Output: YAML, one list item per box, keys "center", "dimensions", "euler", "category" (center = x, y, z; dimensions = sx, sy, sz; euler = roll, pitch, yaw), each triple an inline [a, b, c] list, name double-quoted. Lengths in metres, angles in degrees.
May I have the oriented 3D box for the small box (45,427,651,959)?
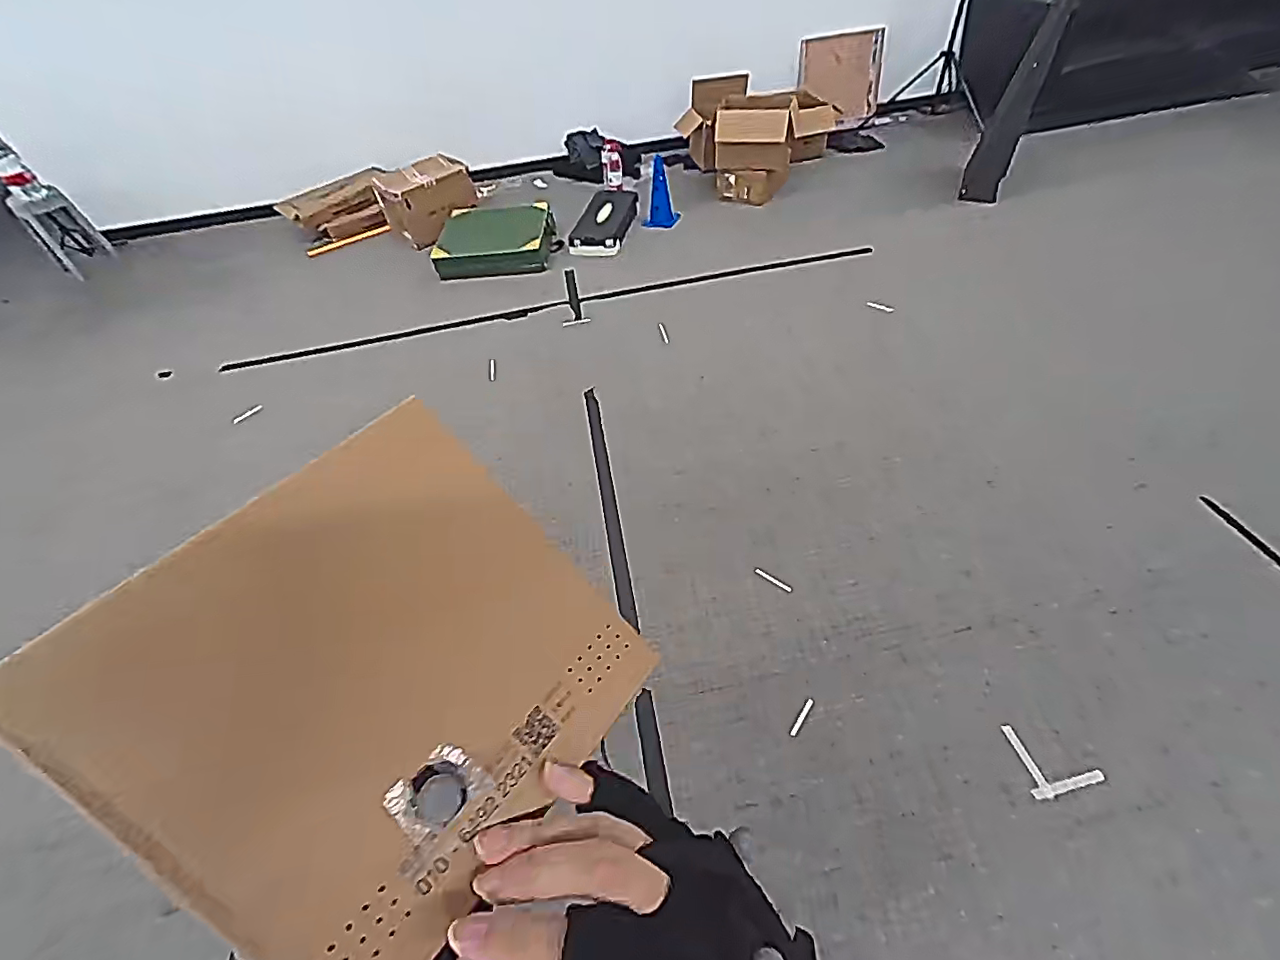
- center: [-0.128, 0.107, 0.295]
  dimensions: [0.176, 0.179, 0.168]
  euler: [48, 60, -5]
  category: "small box"
